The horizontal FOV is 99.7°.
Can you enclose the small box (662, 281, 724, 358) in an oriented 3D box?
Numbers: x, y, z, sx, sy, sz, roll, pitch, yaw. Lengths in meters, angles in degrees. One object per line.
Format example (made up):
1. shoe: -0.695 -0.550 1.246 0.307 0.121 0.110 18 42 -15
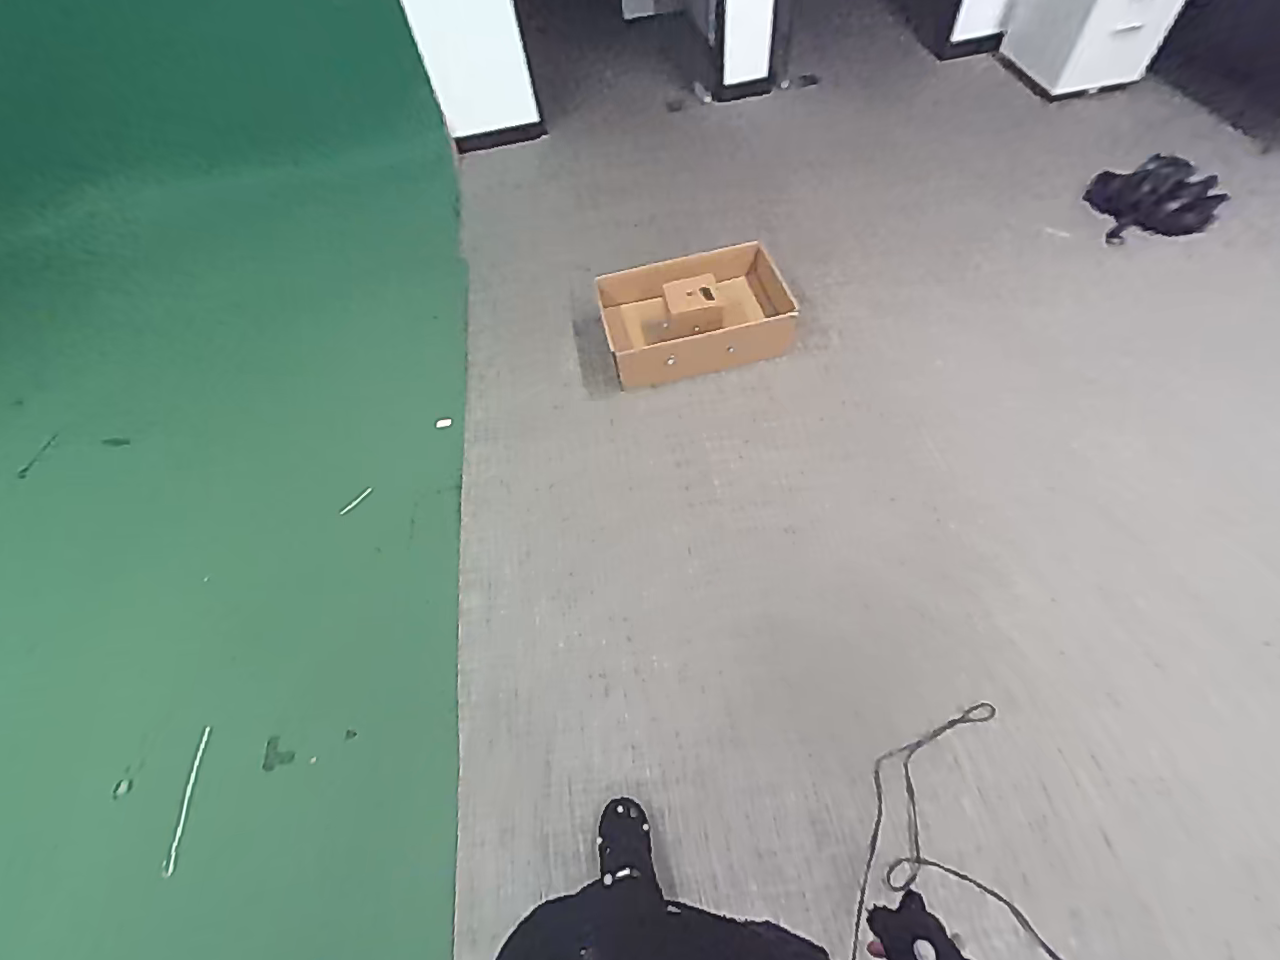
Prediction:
1. small box: 0.178 -0.544 1.843 0.179 0.176 0.168 -13 56 -2
